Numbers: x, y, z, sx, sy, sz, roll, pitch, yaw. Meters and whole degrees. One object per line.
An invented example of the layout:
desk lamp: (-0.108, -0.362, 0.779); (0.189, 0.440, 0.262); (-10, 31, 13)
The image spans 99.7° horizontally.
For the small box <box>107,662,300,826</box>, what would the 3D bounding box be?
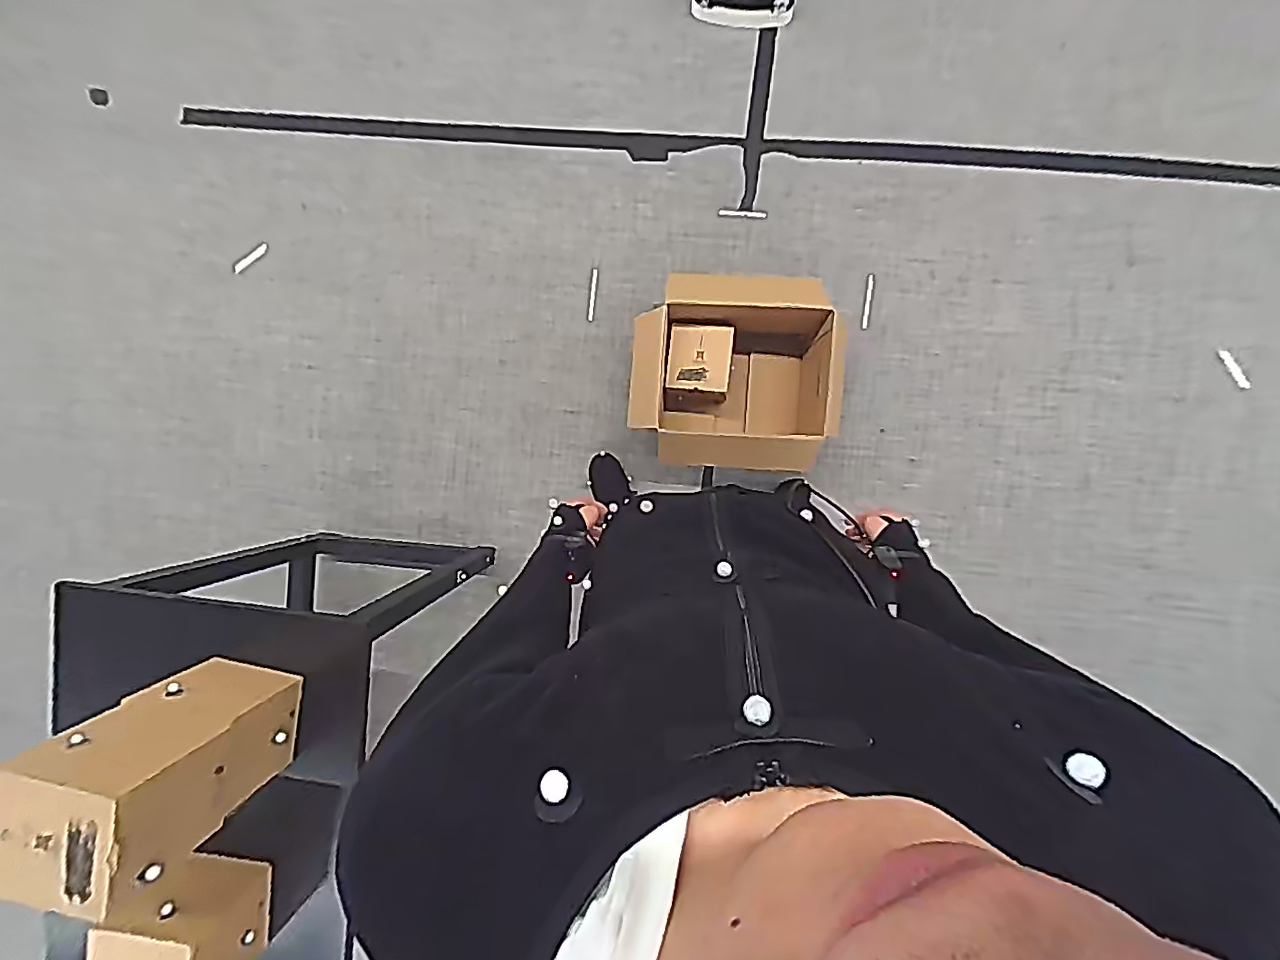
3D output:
small box: (-0.709, 0.421, 0.894); (0.179, 0.176, 0.168); (11, 95, 4)

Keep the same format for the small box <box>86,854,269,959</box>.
small box: (-0.783, 0.784, 0.925); (0.179, 0.176, 0.168); (6, 94, 4)
